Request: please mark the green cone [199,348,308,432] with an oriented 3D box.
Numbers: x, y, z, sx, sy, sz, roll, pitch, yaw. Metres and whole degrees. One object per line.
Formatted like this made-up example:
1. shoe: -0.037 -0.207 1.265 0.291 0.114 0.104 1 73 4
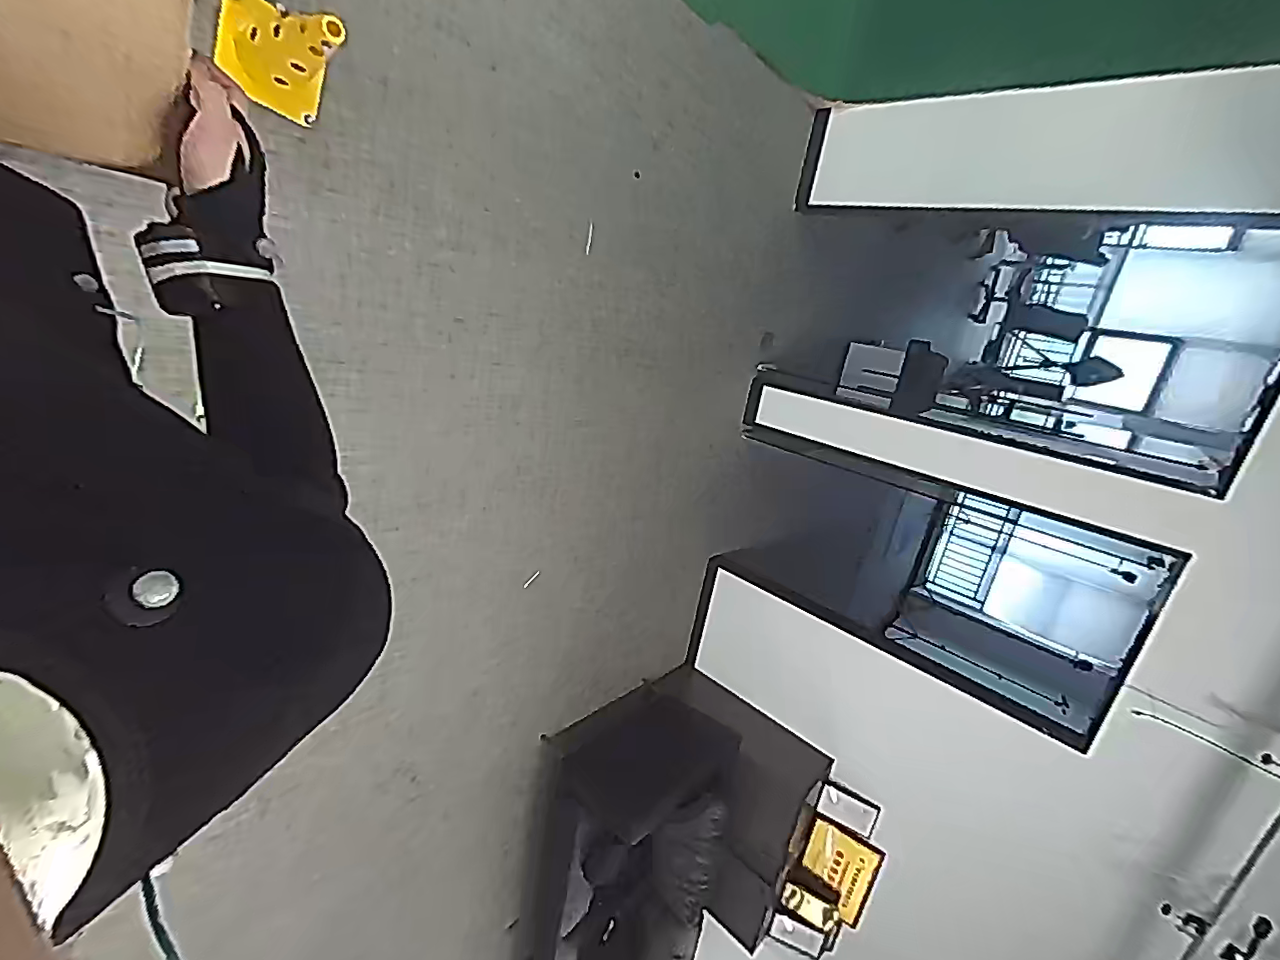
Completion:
1. green cone: -0.871 -0.173 1.280 0.200 0.368 0.202 -1 109 -51
